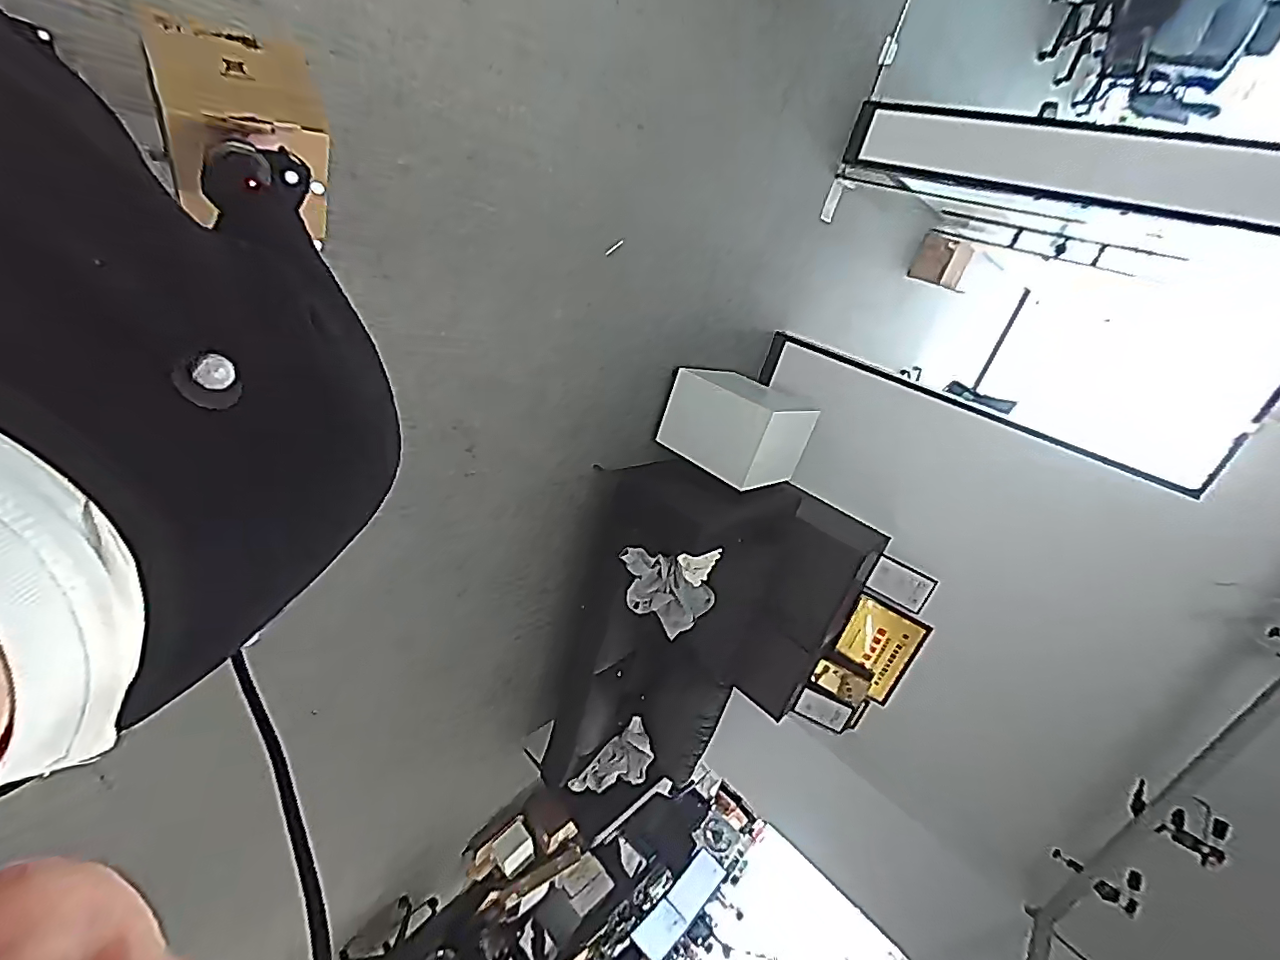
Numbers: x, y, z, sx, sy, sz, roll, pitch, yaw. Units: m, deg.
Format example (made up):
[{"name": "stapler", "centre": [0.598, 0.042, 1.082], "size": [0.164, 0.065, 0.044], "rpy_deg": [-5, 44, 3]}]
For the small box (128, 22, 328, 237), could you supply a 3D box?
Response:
[{"name": "small box", "centre": [-0.532, -0.449, 0.721], "size": [0.168, 0.179, 0.176], "rpy_deg": [-19, 162, -34]}]
